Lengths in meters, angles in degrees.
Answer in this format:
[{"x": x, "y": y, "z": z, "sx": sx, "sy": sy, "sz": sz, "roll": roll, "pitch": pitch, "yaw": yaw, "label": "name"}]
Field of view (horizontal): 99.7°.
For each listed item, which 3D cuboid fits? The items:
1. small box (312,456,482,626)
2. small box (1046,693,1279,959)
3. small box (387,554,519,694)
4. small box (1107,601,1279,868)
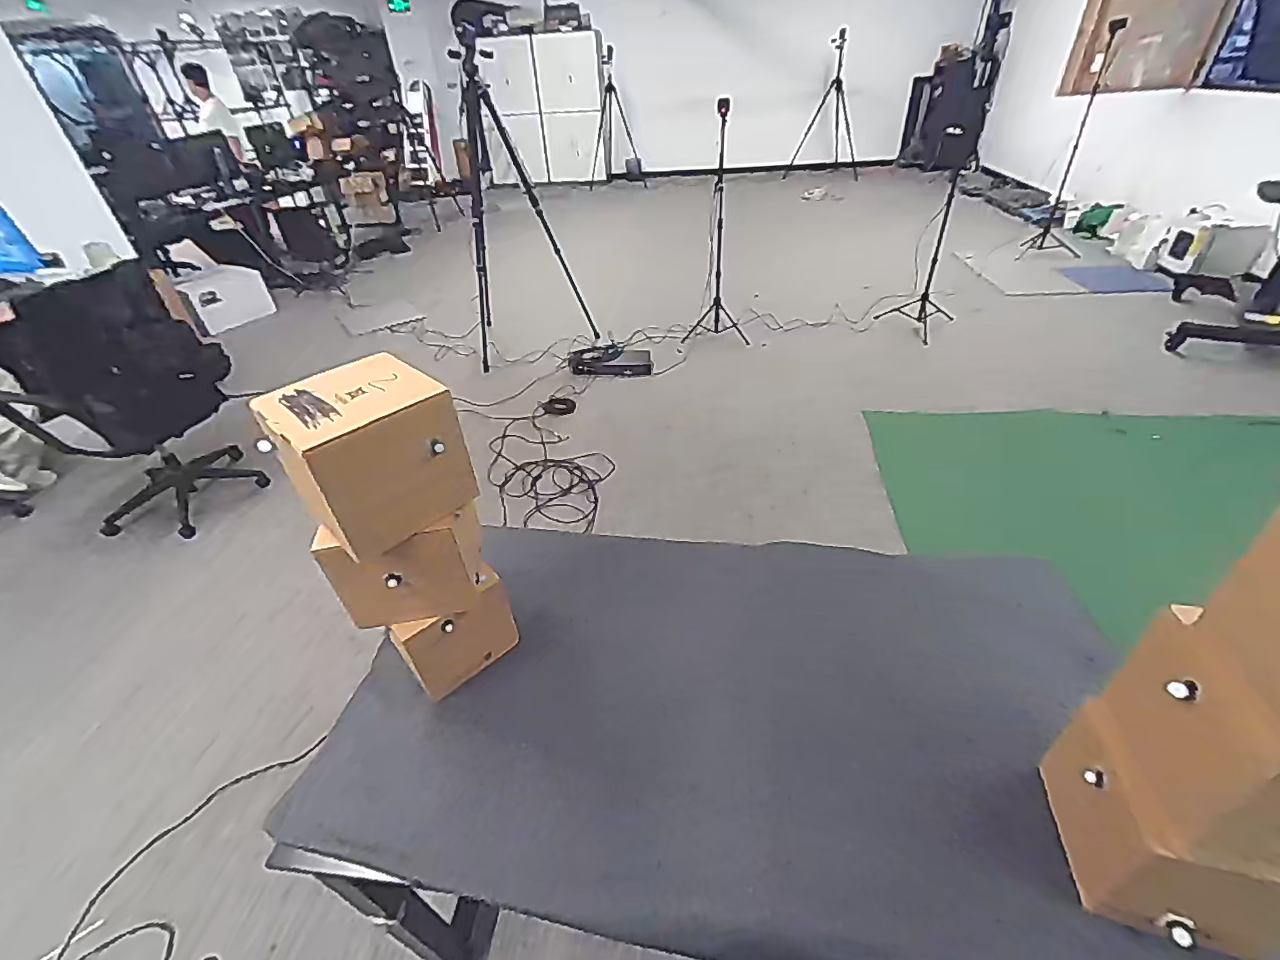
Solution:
[{"x": -0.338, "y": 0.089, "z": 0.798, "sx": 0.179, "sy": 0.176, "sz": 0.168, "roll": -10, "pitch": 39, "yaw": -7, "label": "small box"}, {"x": 0.591, "y": 0.375, "z": 0.599, "sx": 0.168, "sy": 0.176, "sz": 0.179, "roll": 6, "pitch": 37, "yaw": 15, "label": "small box"}, {"x": -0.327, "y": 0.216, "z": 0.904, "sx": 0.168, "sy": 0.176, "sz": 0.179, "roll": -32, "pitch": 46, "yaw": -30, "label": "small box"}, {"x": 0.596, "y": 0.243, "z": 0.505, "sx": 0.168, "sy": 0.176, "sz": 0.179, "roll": 5, "pitch": 35, "yaw": 14, "label": "small box"}]
